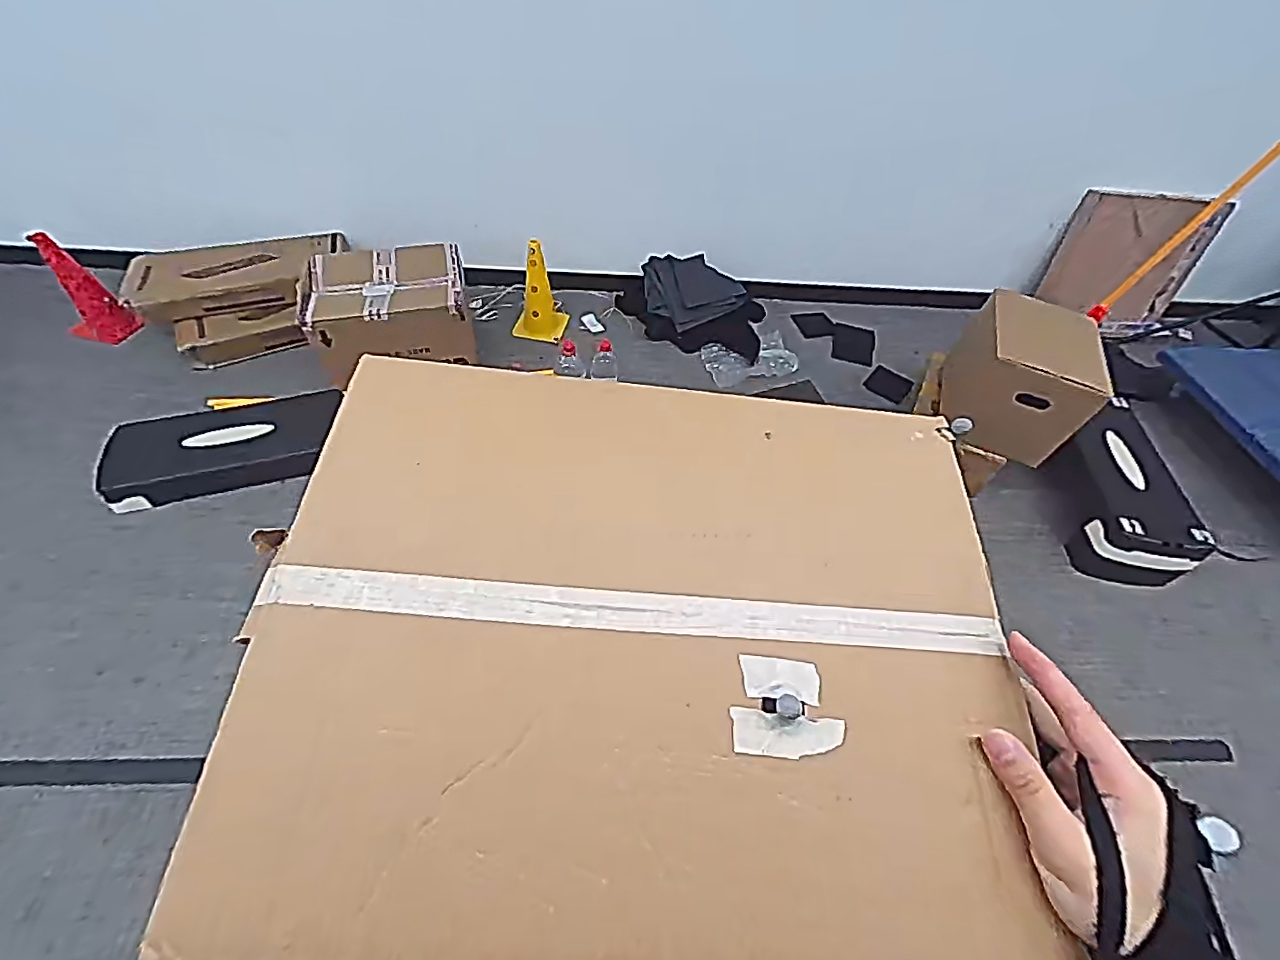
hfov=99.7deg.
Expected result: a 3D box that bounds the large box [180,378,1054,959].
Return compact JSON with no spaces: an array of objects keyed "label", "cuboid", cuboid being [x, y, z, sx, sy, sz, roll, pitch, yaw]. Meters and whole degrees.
[{"label":"large box","cuboid":[-0.010,0.150,0.441,0.408,0.320,0.320,6,62,-5]}]
